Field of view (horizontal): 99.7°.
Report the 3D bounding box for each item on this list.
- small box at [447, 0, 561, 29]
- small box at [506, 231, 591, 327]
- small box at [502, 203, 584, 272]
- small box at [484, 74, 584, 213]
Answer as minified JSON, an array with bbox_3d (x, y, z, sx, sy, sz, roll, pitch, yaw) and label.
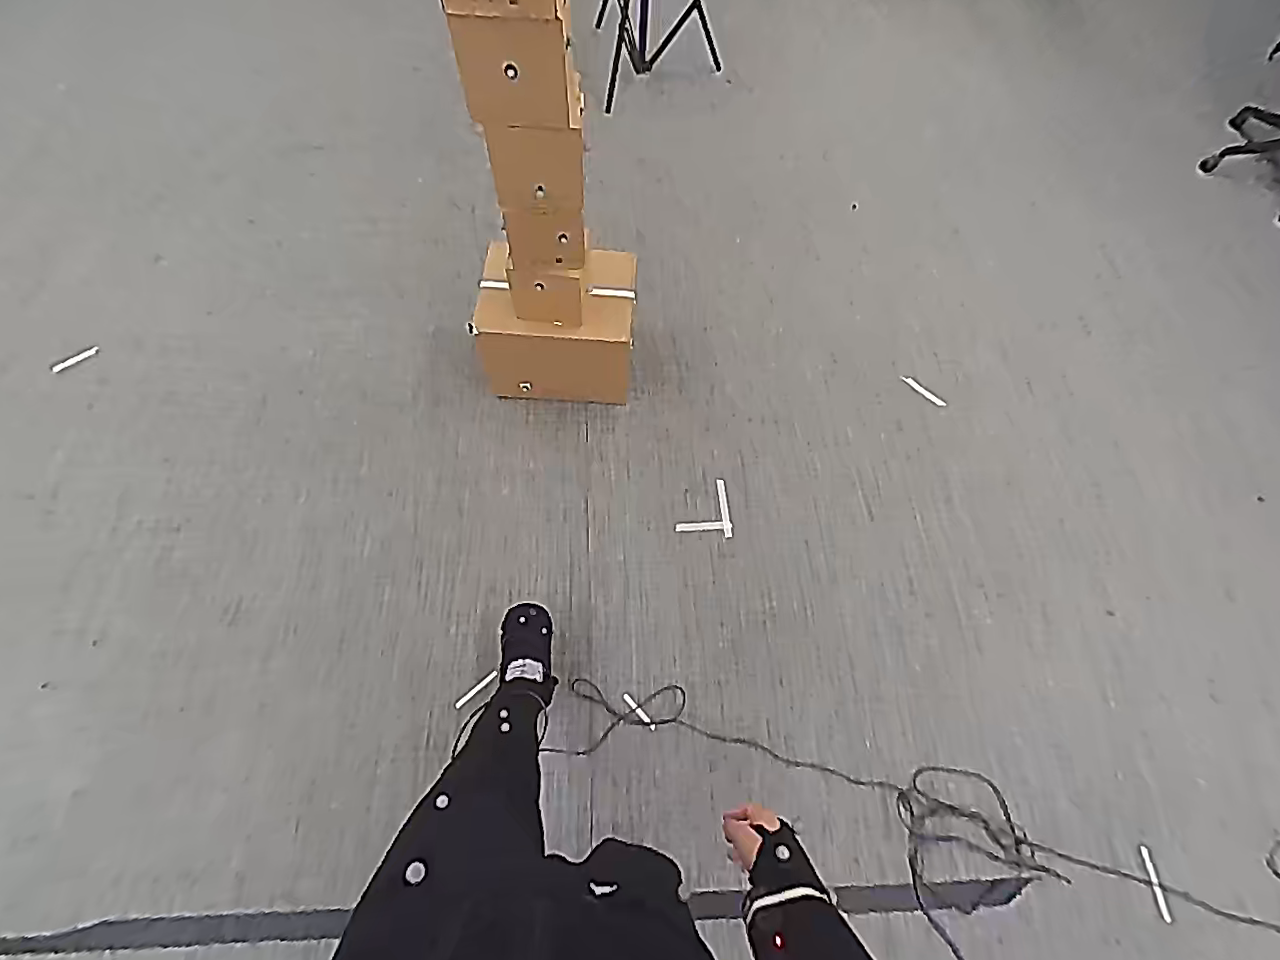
[{"bbox_3d":[-0.197,-0.782,0.756,0.168,0.176,0.179,1,67,-4],"label":"small box"},{"bbox_3d":[-0.221,-0.504,1.347,0.179,0.176,0.168,7,66,-2],"label":"small box"},{"bbox_3d":[-0.216,-0.585,1.205,0.168,0.176,0.179,-7,66,-8],"label":"small box"},{"bbox_3d":[-0.198,-0.649,1.056,0.179,0.176,0.168,-1,66,-6],"label":"small box"}]
